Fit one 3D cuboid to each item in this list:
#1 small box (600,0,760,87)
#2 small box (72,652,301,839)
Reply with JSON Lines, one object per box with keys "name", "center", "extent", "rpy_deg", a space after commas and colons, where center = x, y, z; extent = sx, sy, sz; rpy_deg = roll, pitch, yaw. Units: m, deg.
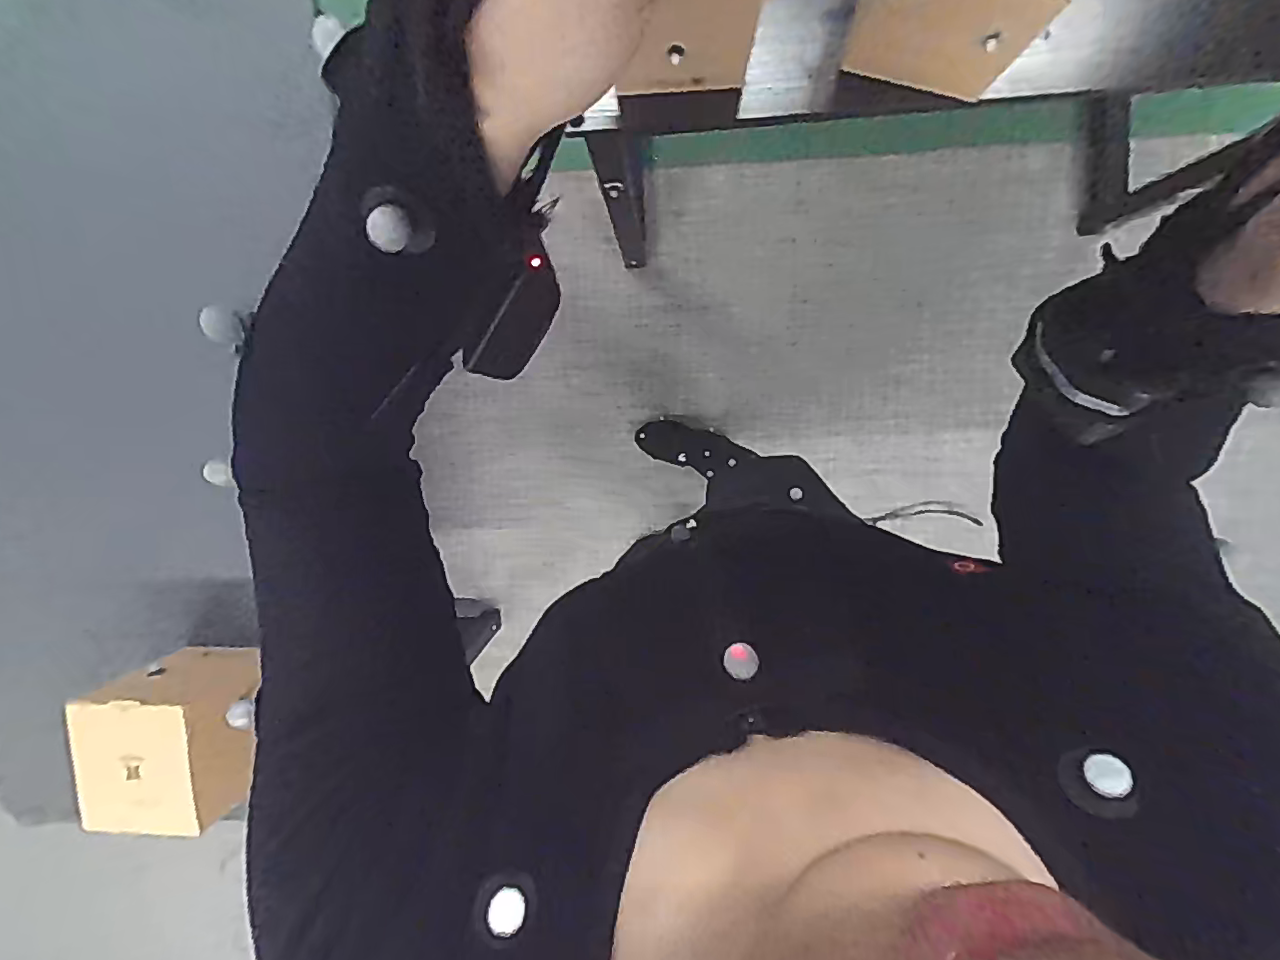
{"name": "small box", "center": [0.043, -0.564, 0.592], "extent": [0.168, 0.176, 0.179], "rpy_deg": [-2, 97, 3]}
{"name": "small box", "center": [-0.609, 0.352, 0.749], "extent": [0.168, 0.176, 0.179], "rpy_deg": [-2, 97, 6]}
